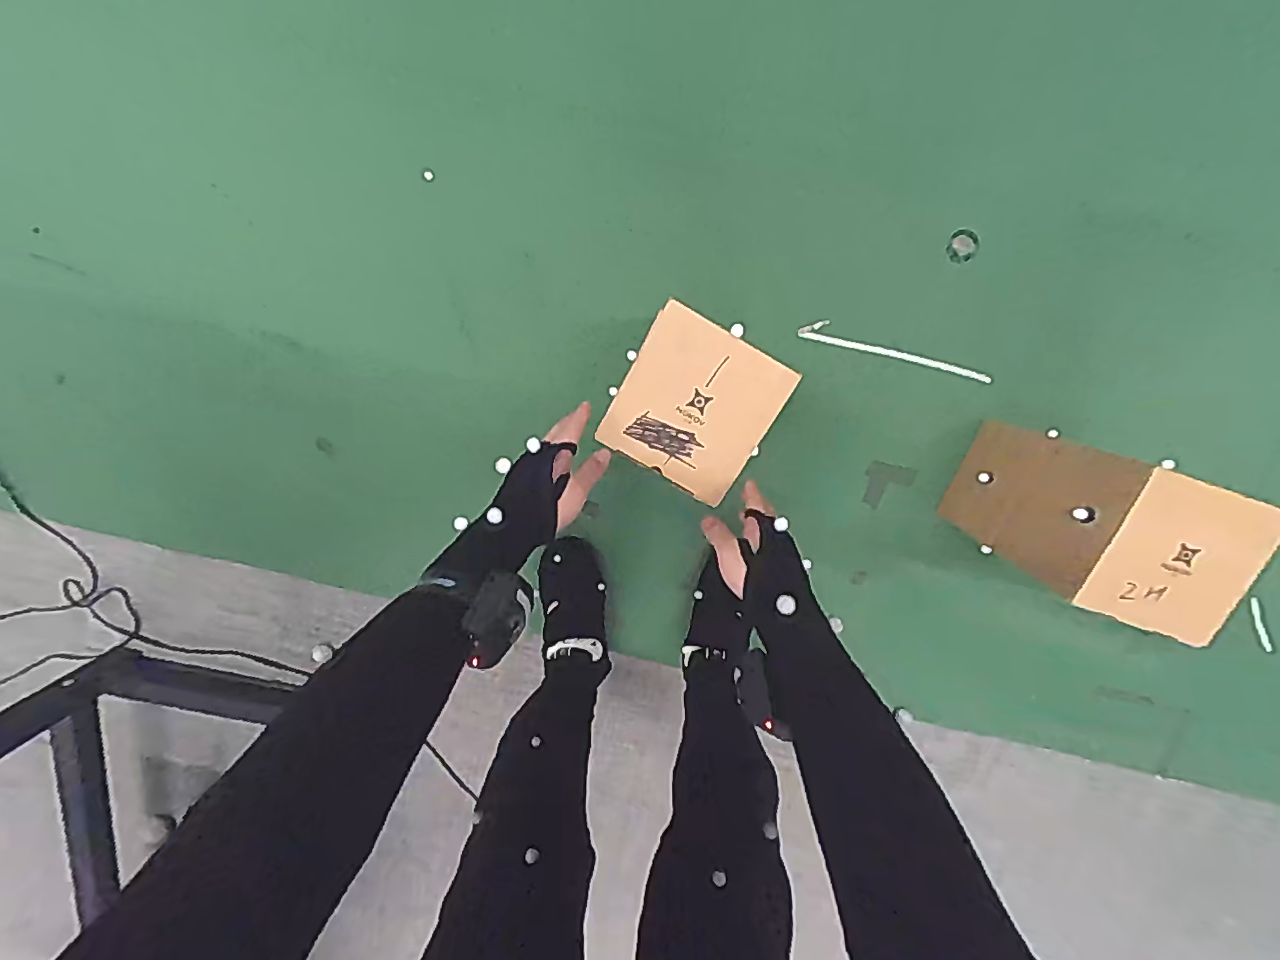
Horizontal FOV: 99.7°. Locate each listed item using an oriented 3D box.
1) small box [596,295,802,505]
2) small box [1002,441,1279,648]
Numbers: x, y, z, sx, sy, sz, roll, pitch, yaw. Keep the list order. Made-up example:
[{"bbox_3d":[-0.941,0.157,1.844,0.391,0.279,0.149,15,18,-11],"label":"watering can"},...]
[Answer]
[{"bbox_3d":[0.068,-0.102,0.662,0.168,0.176,0.179,30,105,-5],"label":"small box"},{"bbox_3d":[0.597,0.066,0.665,0.168,0.176,0.179,19,106,-1],"label":"small box"}]
